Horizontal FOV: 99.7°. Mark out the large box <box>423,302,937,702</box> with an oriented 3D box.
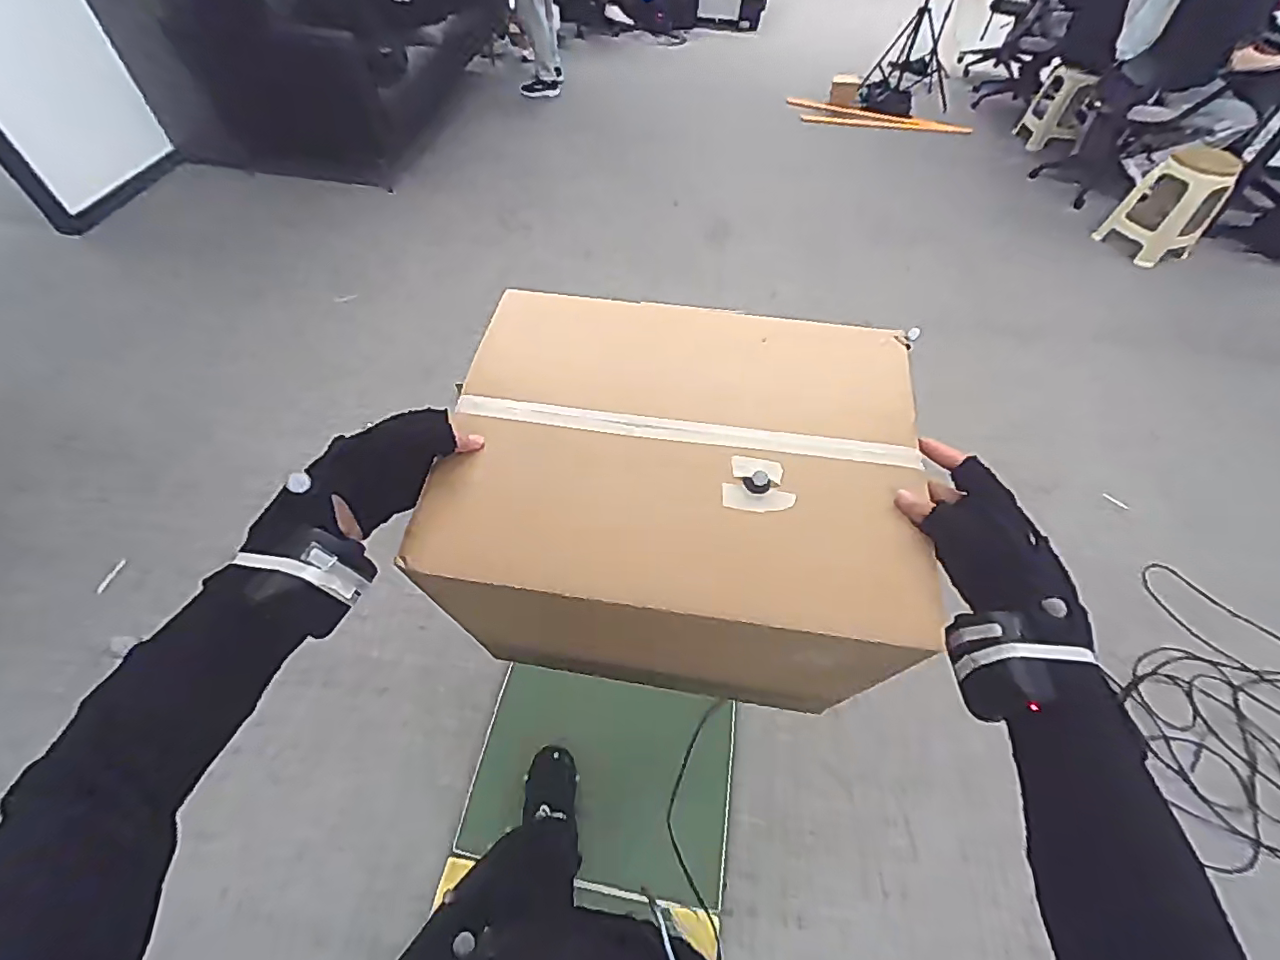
[{"bbox_3d":[0.041,0.039,0.612,0.408,0.320,0.320,8,60,4],"label":"large box"}]
